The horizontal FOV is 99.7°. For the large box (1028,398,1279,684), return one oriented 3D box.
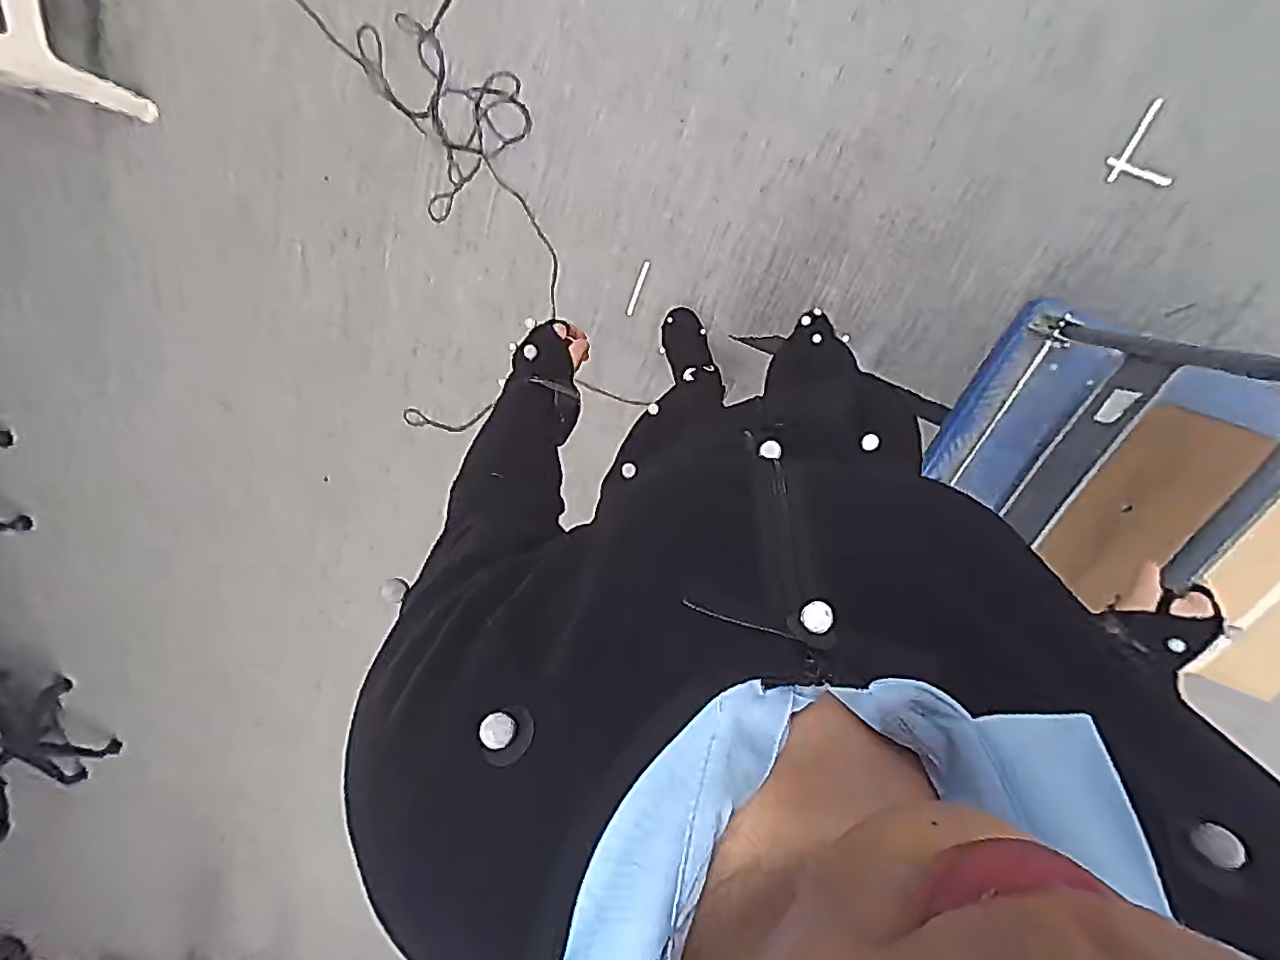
[{"bbox_3d":[1.091,0.101,1.066,0.320,0.320,0.408,23,112,1],"label":"large box"}]
